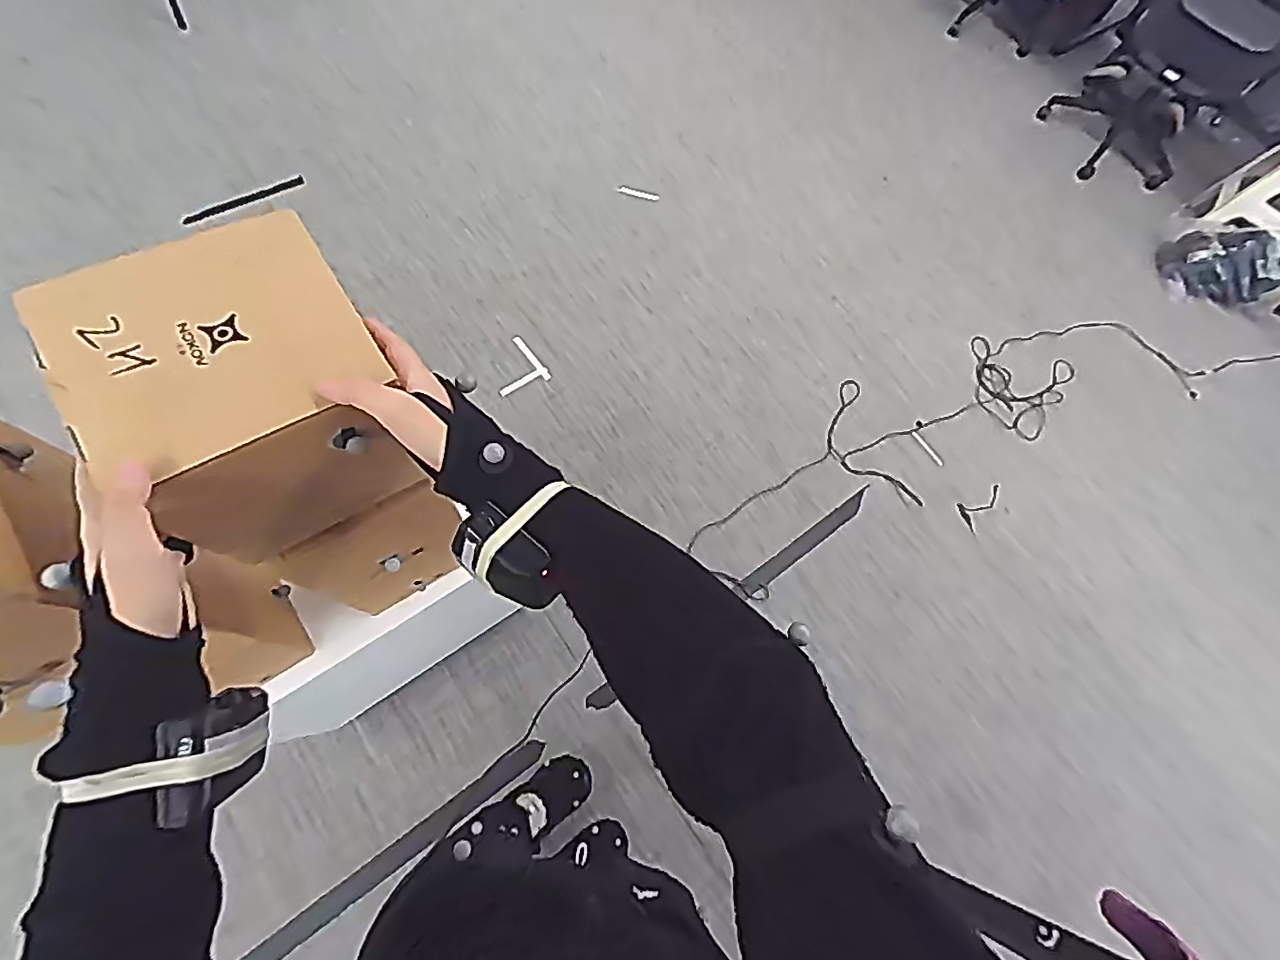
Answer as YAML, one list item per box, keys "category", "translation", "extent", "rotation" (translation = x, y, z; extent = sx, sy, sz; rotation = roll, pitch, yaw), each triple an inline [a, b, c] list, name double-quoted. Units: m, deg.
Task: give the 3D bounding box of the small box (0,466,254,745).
- category: "small box"
  translation: [-0.515, 0.122, 0.509]
  extent: [0.168, 0.176, 0.179]
  rotation: [-33, 77, -19]

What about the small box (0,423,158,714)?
- category: "small box"
  translation: [-0.491, 0.062, 0.360]
  extent: [0.168, 0.176, 0.179]
  rotation: [-34, 78, -18]

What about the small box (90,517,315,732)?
- category: "small box"
  translation: [-0.541, 0.179, 0.659]
  extent: [0.168, 0.176, 0.179]
  rotation: [-32, 76, -18]

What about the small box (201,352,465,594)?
- category: "small box"
  translation: [-0.312, 0.002, 0.586]
  extent: [0.168, 0.176, 0.179]
  rotation: [-31, 78, -18]
